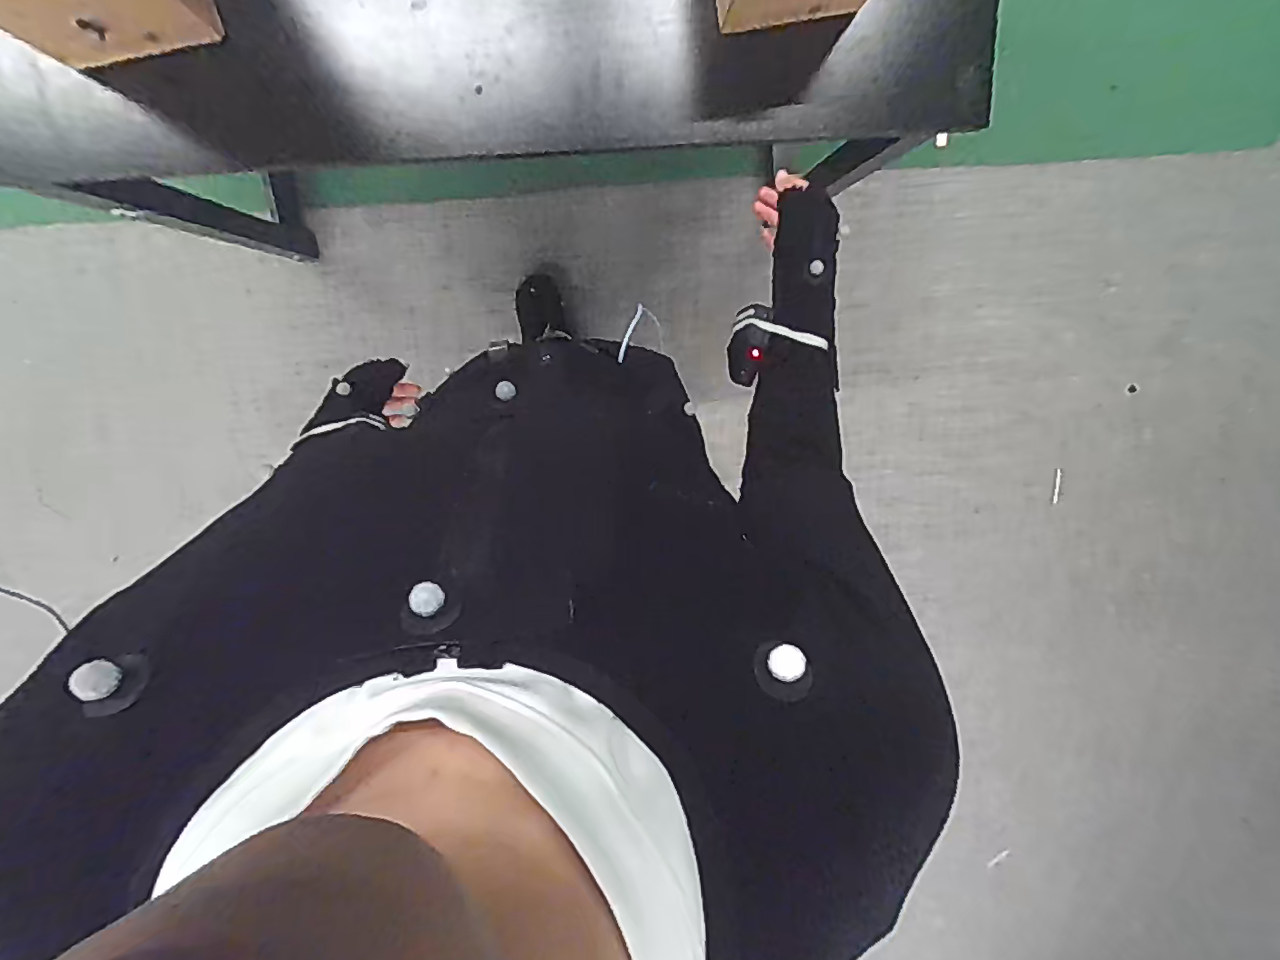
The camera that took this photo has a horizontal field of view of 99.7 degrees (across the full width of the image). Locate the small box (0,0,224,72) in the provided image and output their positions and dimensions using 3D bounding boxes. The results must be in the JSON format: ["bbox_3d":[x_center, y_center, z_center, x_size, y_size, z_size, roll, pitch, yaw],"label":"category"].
[{"bbox_3d":[-0.530,-0.511,0.478,0.168,0.176,0.179,-14,106,-2],"label":"small box"}]
